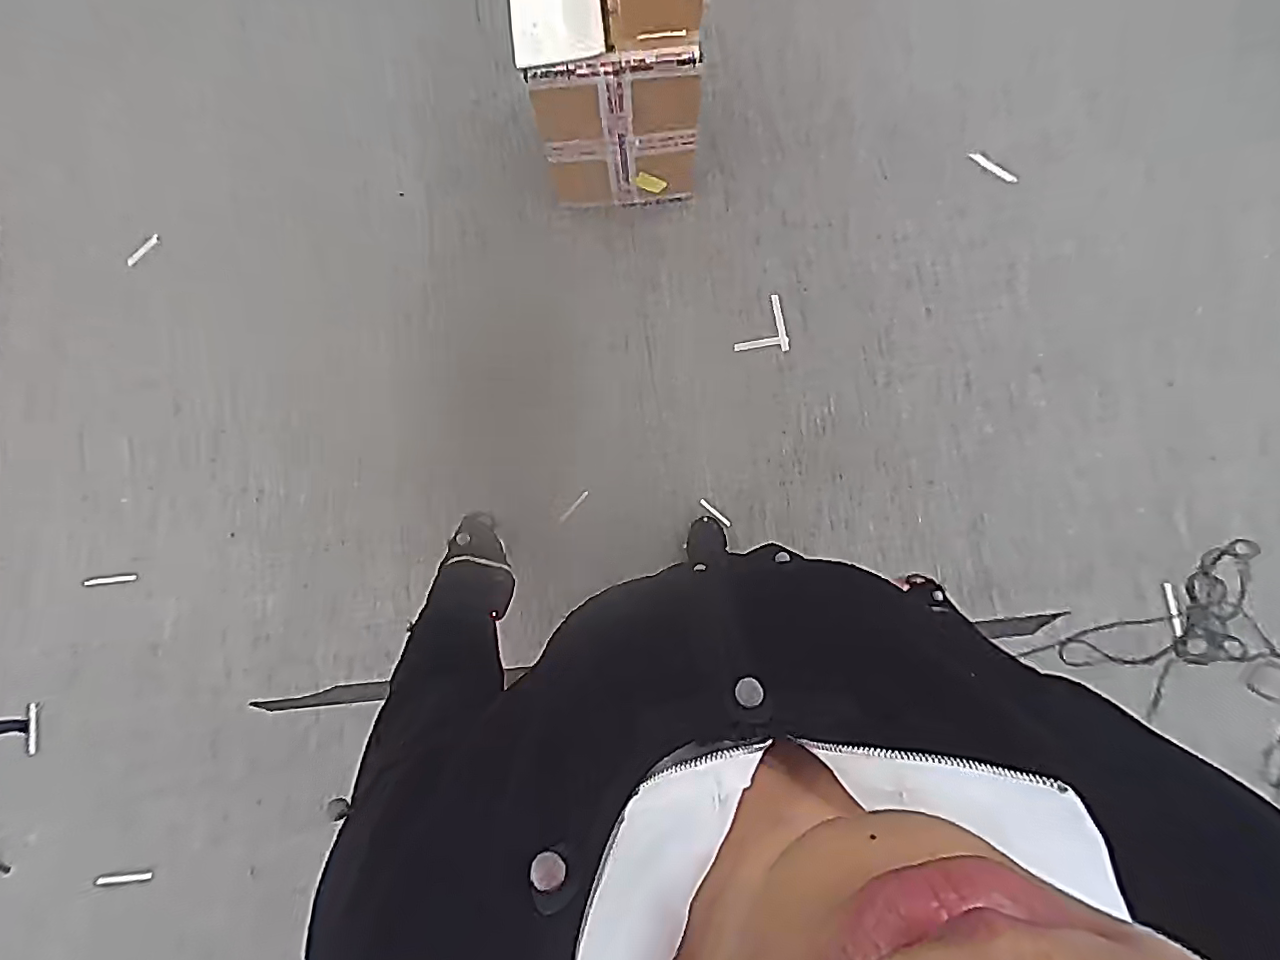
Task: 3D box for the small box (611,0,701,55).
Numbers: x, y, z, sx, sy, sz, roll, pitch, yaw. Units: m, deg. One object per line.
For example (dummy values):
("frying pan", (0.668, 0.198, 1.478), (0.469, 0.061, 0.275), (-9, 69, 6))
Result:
("small box", (0.029, -1.015, 1.096), (0.179, 0.176, 0.168), (-8, 84, 0))
